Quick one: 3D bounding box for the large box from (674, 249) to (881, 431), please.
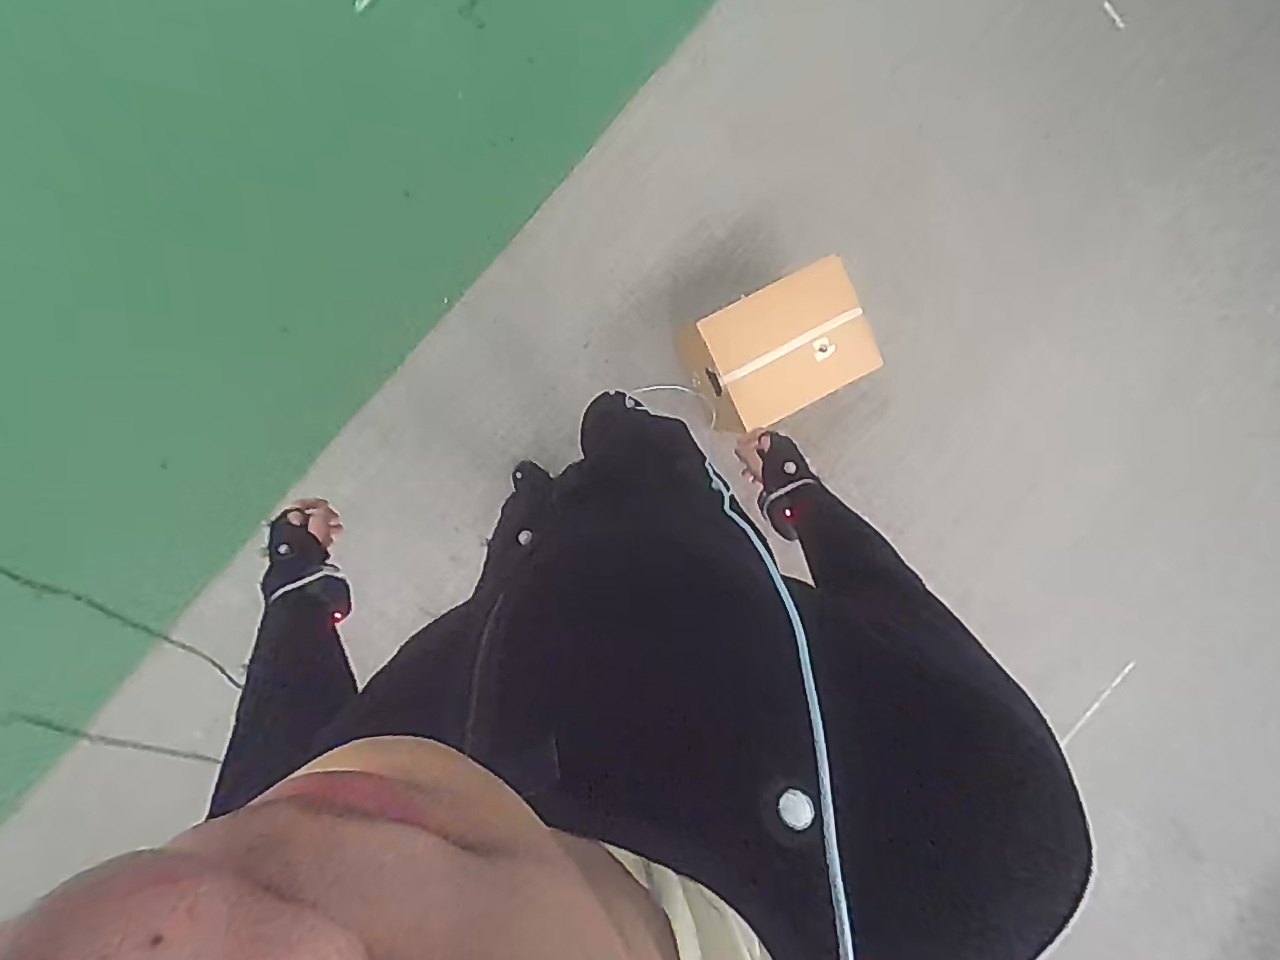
[{"bbox_3d":[0.357,-0.360,1.494,0.408,0.320,0.320,-28,99,-4],"label":"large box"}]
